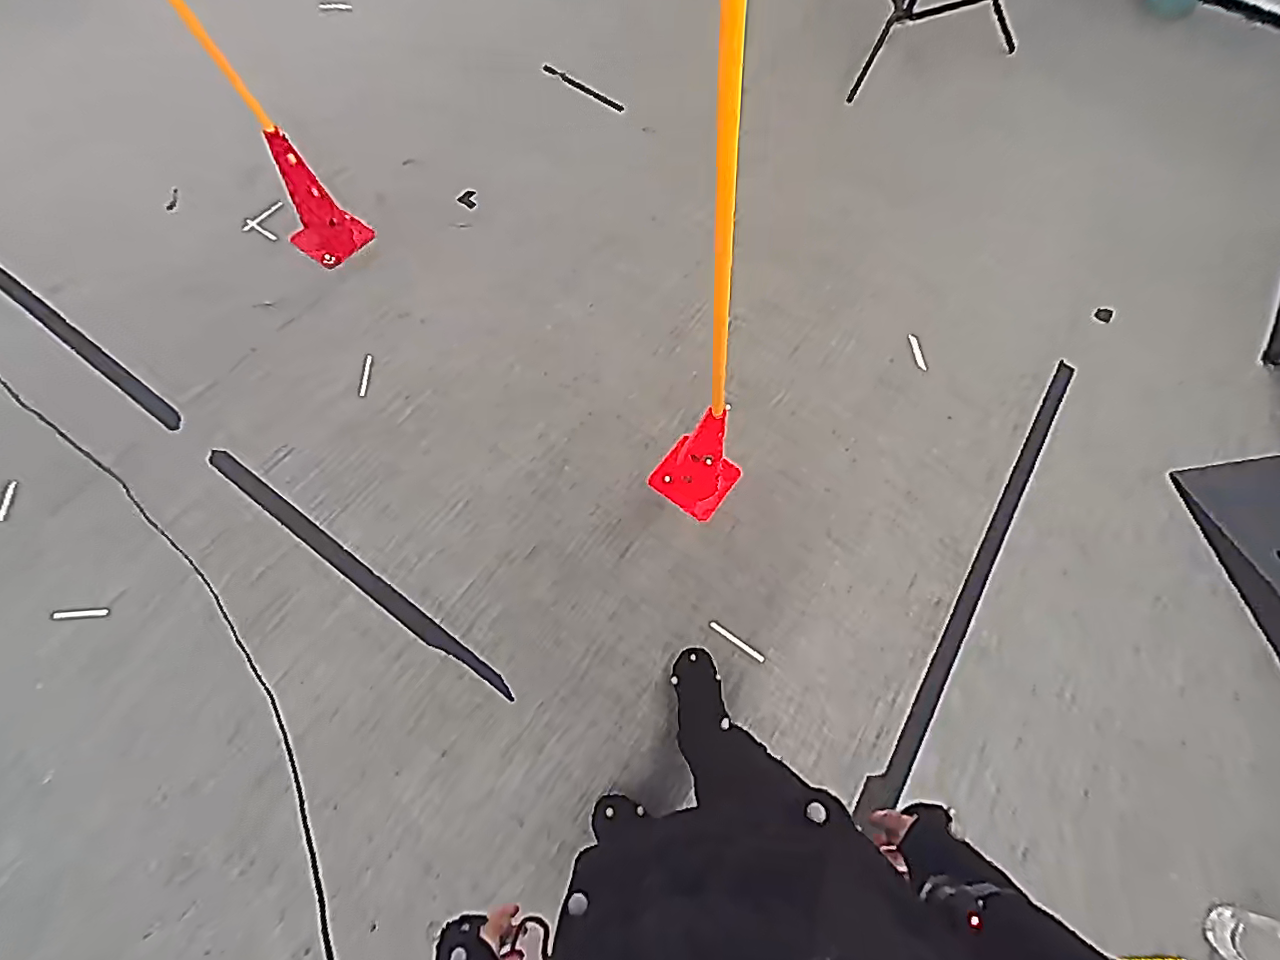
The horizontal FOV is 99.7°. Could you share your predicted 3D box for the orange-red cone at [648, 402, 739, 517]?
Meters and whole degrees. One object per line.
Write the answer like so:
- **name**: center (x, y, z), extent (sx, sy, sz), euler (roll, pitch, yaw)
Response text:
- **orange-red cone**: center (0.155, -0.085, 1.311), extent (0.199, 0.360, 0.198), euler (37, 70, 11)
